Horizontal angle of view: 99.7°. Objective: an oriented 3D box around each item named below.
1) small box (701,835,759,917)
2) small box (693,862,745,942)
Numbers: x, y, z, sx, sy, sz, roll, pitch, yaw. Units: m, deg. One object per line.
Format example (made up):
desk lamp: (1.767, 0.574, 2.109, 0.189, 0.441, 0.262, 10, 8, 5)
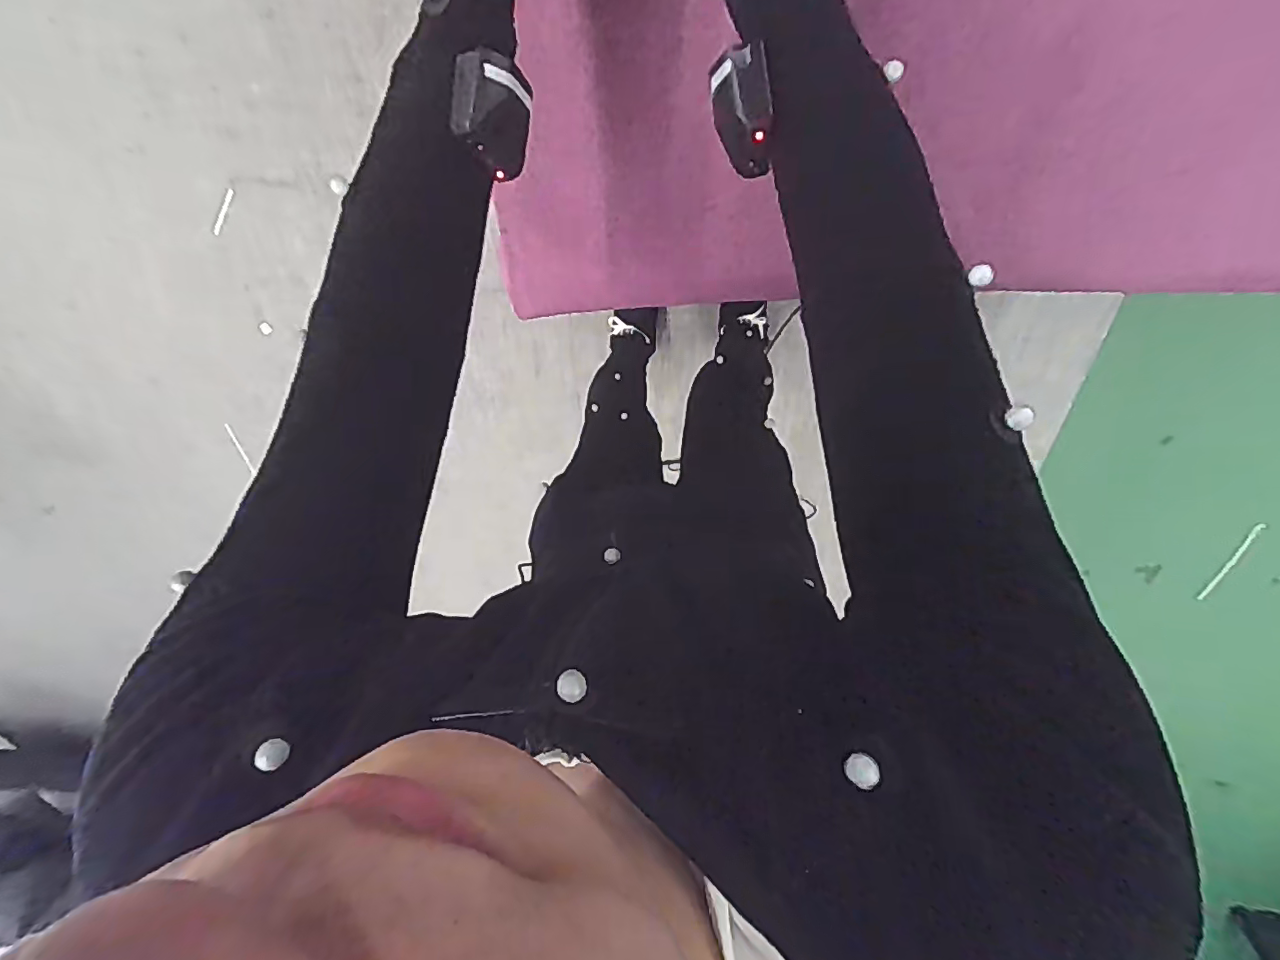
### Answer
small box: (0.291, 1.300, 1.781, 0.168, 0.176, 0.179, 6, 126, 4)
small box: (0.280, 1.501, 1.928, 0.168, 0.176, 0.179, 5, 123, 5)
